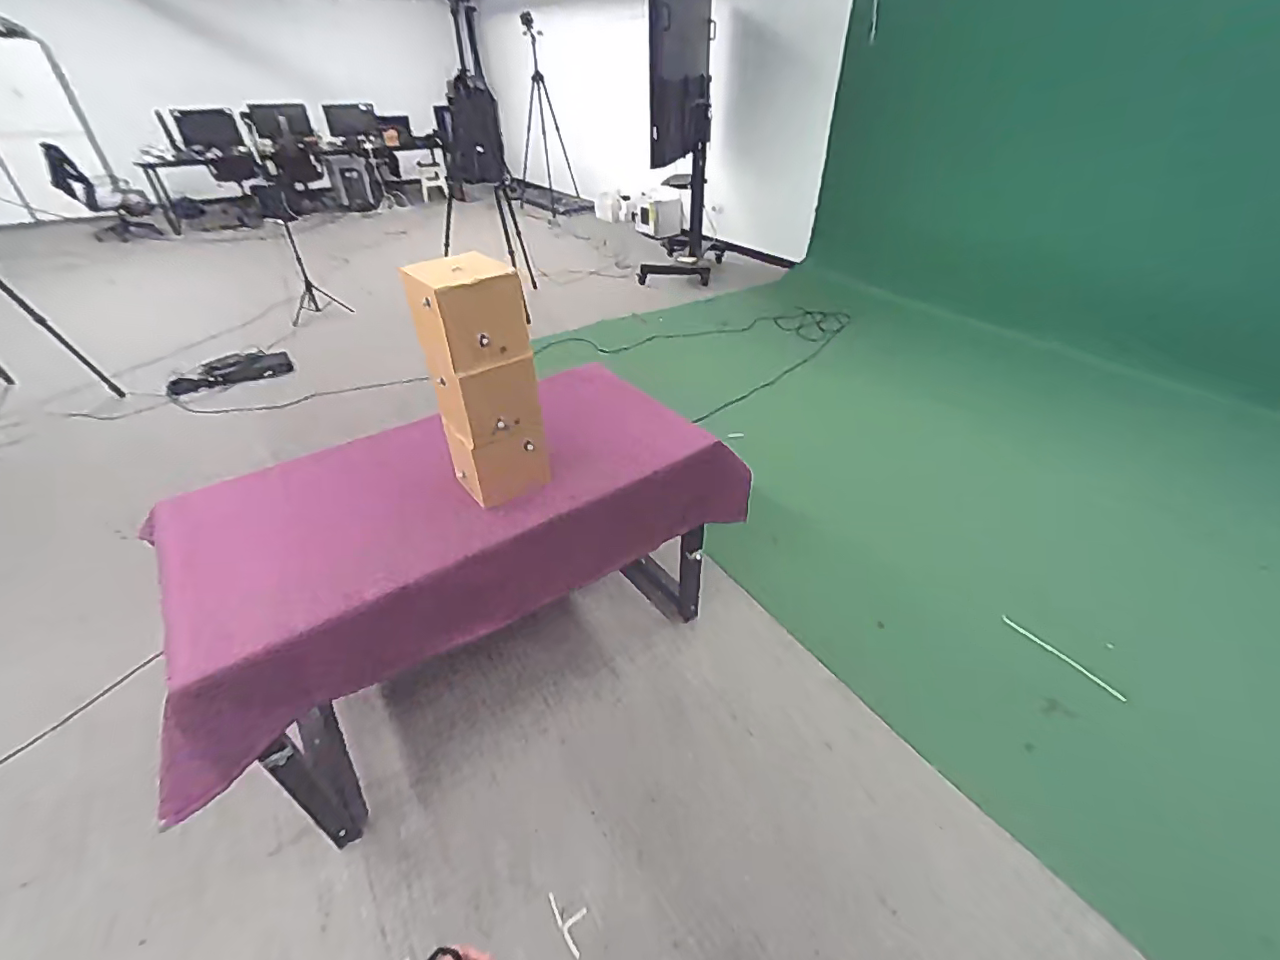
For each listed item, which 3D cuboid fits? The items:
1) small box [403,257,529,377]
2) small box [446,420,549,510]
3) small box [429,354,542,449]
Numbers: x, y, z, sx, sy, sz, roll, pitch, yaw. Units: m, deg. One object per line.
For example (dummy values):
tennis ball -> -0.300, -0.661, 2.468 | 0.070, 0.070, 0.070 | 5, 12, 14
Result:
small box -> -0.338, -0.324, 1.068 | 0.168, 0.176, 0.179 | -28, 45, -30
small box -> -0.324, -0.061, 1.260 | 0.179, 0.176, 0.168 | -25, 42, -28
small box -> -0.329, -0.192, 1.163 | 0.168, 0.176, 0.179 | -26, 44, -29
